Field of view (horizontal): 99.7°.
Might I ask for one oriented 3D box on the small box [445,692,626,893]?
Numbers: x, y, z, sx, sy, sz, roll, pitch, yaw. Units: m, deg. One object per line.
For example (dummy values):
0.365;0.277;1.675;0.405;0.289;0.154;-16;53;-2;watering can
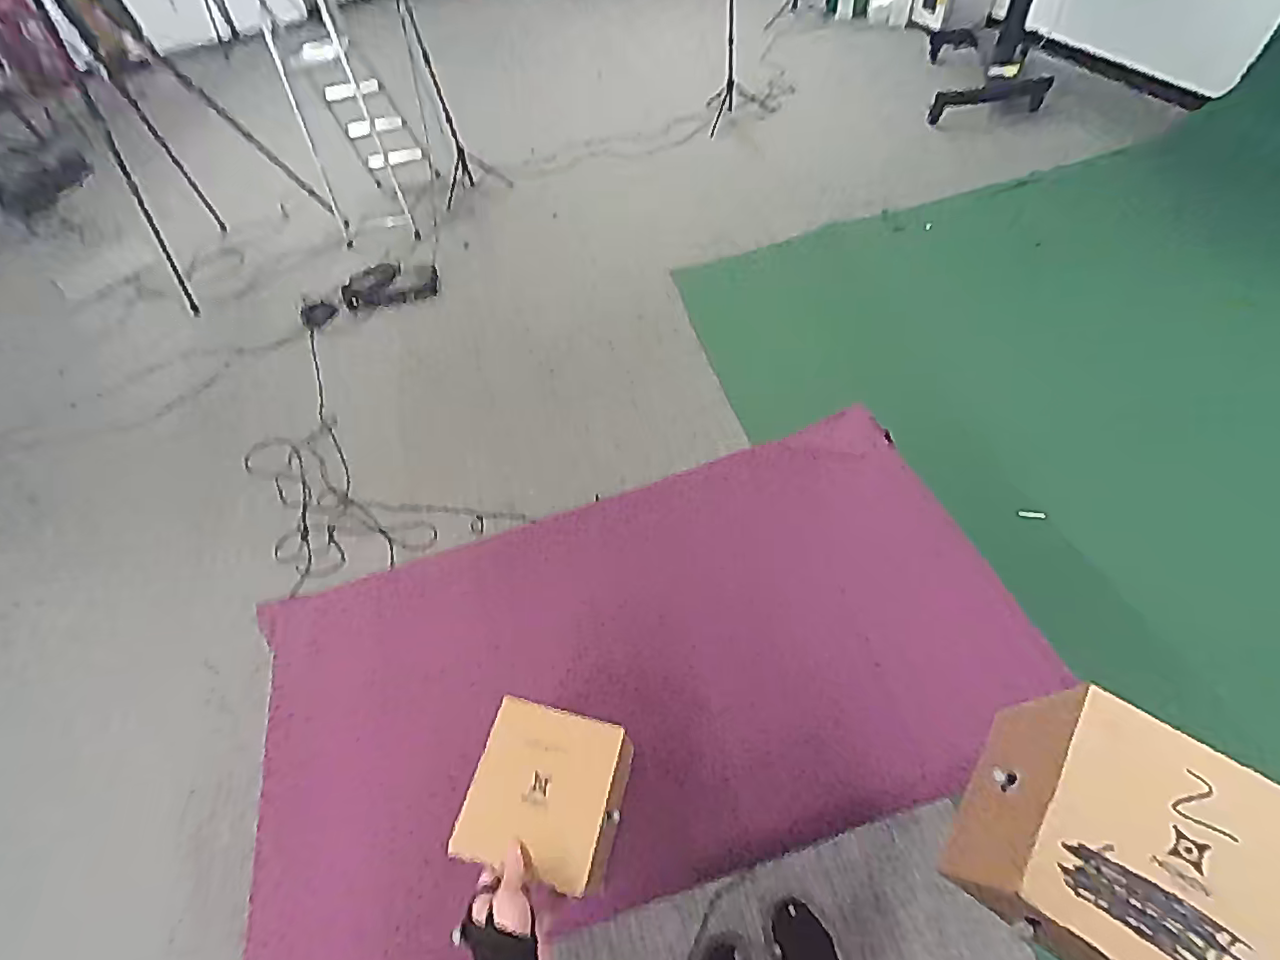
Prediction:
-0.120;0.407;0.713;0.168;0.176;0.179;12;58;11;small box
